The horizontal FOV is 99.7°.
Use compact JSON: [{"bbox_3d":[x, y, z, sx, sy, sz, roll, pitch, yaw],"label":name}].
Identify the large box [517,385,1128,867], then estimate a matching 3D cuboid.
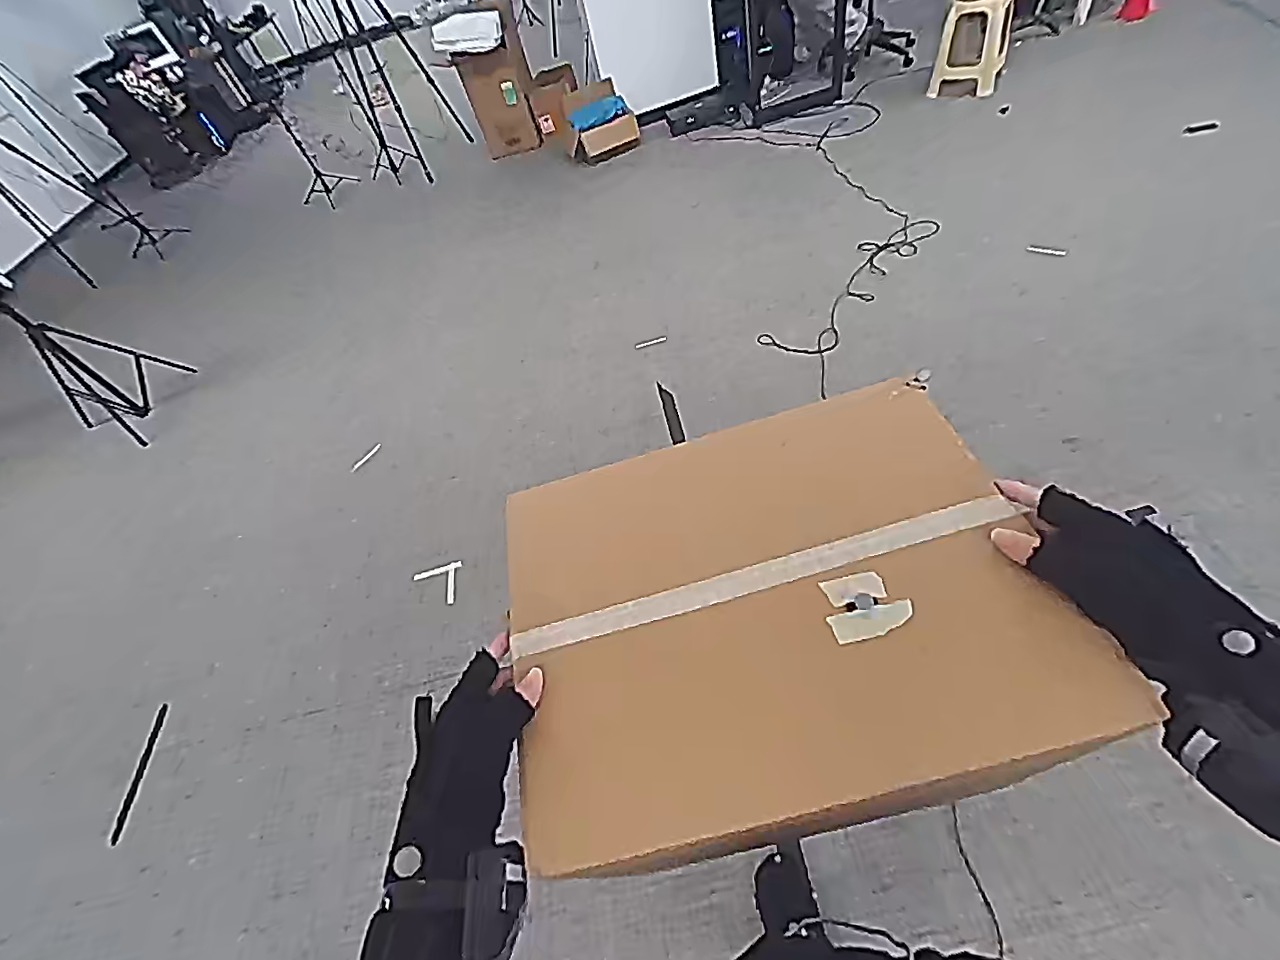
[{"bbox_3d":[0.125,0.167,0.560,0.408,0.320,0.320,-17,53,3],"label":"large box"}]
